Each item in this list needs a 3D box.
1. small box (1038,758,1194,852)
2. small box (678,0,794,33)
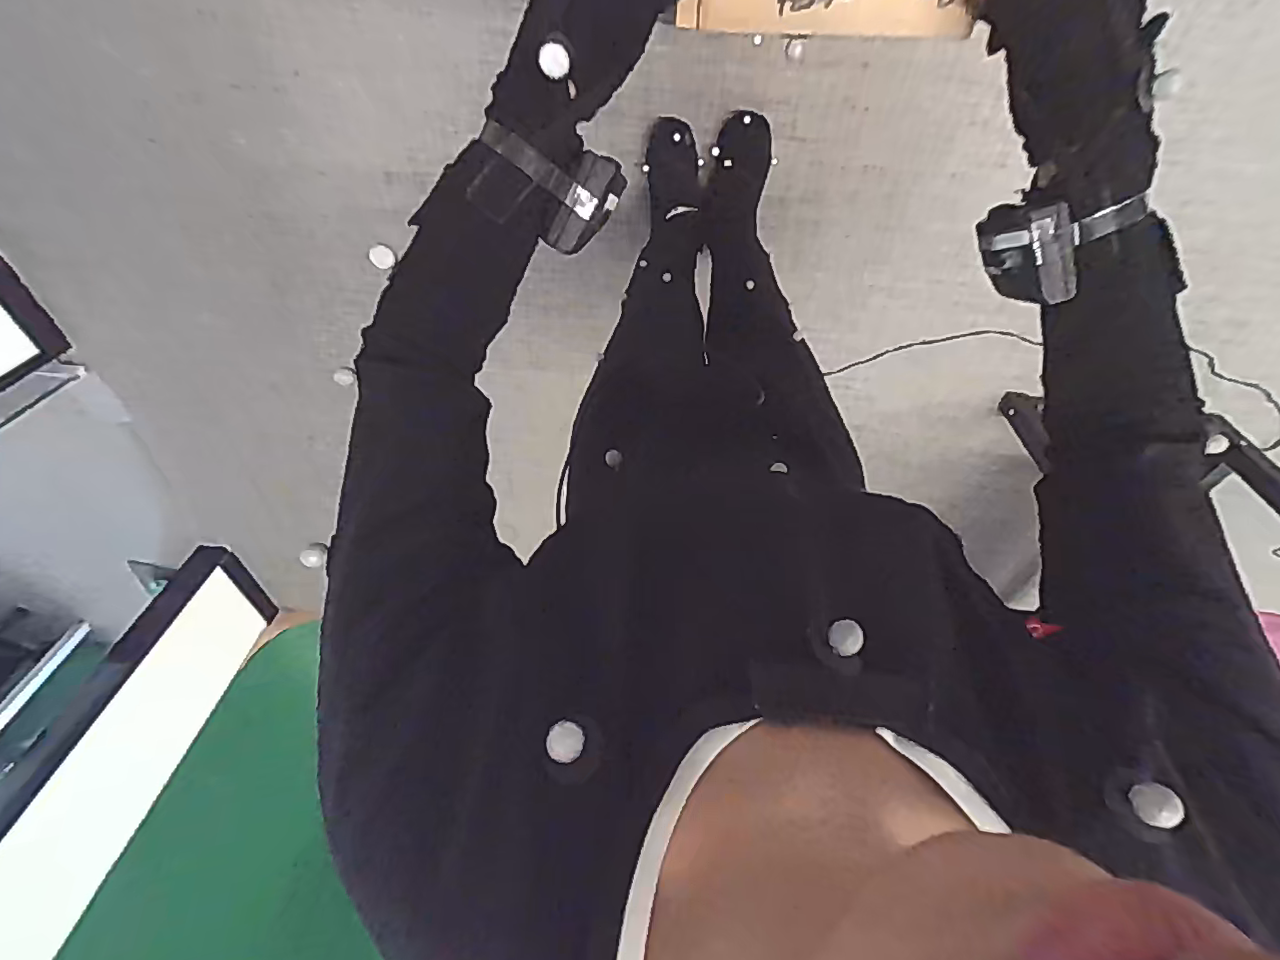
[{"bbox_3d":[1.085,0.763,1.251,0.179,0.176,0.168,10,133,-2],"label":"small box"},{"bbox_3d":[0.158,-0.823,0.852,0.179,0.176,0.168,6,134,1],"label":"small box"}]
